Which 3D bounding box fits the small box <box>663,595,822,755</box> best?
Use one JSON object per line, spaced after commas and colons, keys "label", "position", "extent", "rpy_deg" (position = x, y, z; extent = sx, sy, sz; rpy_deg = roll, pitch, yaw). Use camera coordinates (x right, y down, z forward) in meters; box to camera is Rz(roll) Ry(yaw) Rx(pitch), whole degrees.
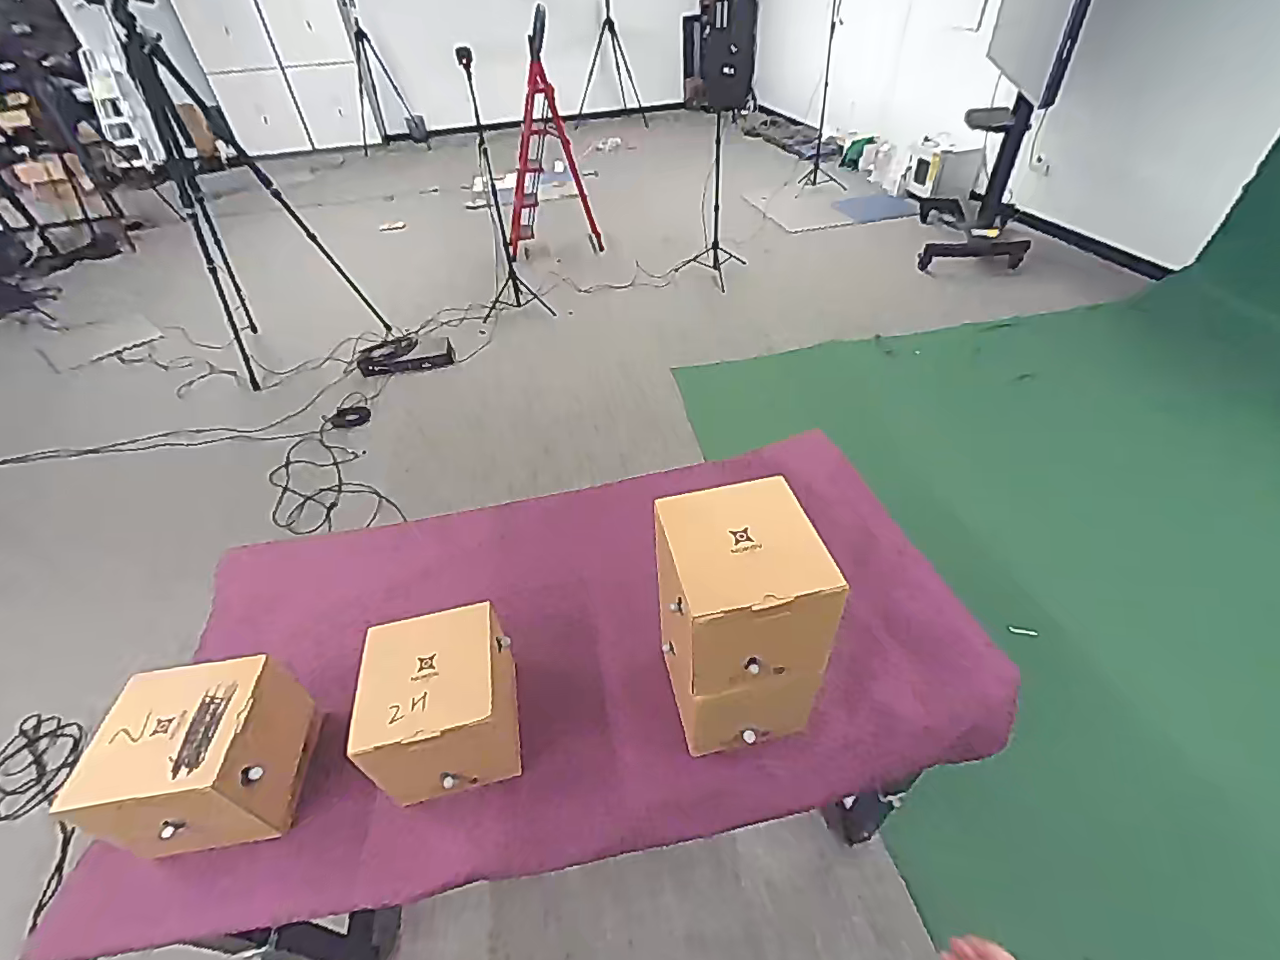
{"label": "small box", "position": [0.128, 0.251, 0.757], "extent": [0.168, 0.176, 0.179], "rpy_deg": [-10, 43, -6]}

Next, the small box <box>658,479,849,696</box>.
{"label": "small box", "position": [0.120, 0.127, 0.651], "extent": [0.168, 0.176, 0.179], "rpy_deg": [-11, 43, -7]}

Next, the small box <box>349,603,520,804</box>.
{"label": "small box", "position": [-0.263, 0.300, 0.732], "extent": [0.168, 0.176, 0.179], "rpy_deg": [-12, 42, -7]}
